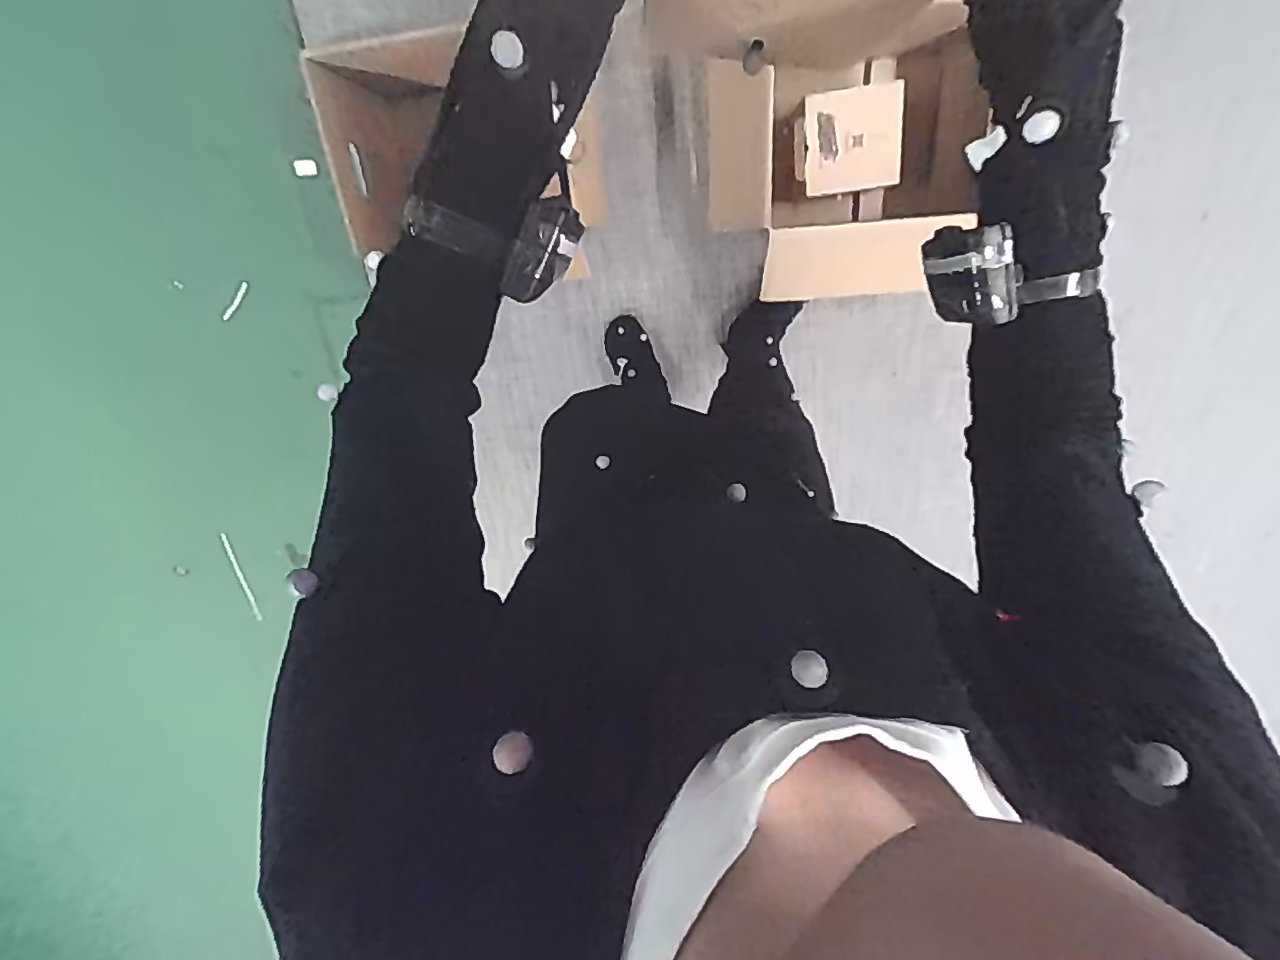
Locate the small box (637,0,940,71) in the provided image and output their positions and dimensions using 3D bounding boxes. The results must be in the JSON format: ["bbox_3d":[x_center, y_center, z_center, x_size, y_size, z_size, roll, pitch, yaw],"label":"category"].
[{"bbox_3d":[0.093,-0.386,0.342,0.179,0.176,0.168,3,113,-3],"label":"small box"}]
